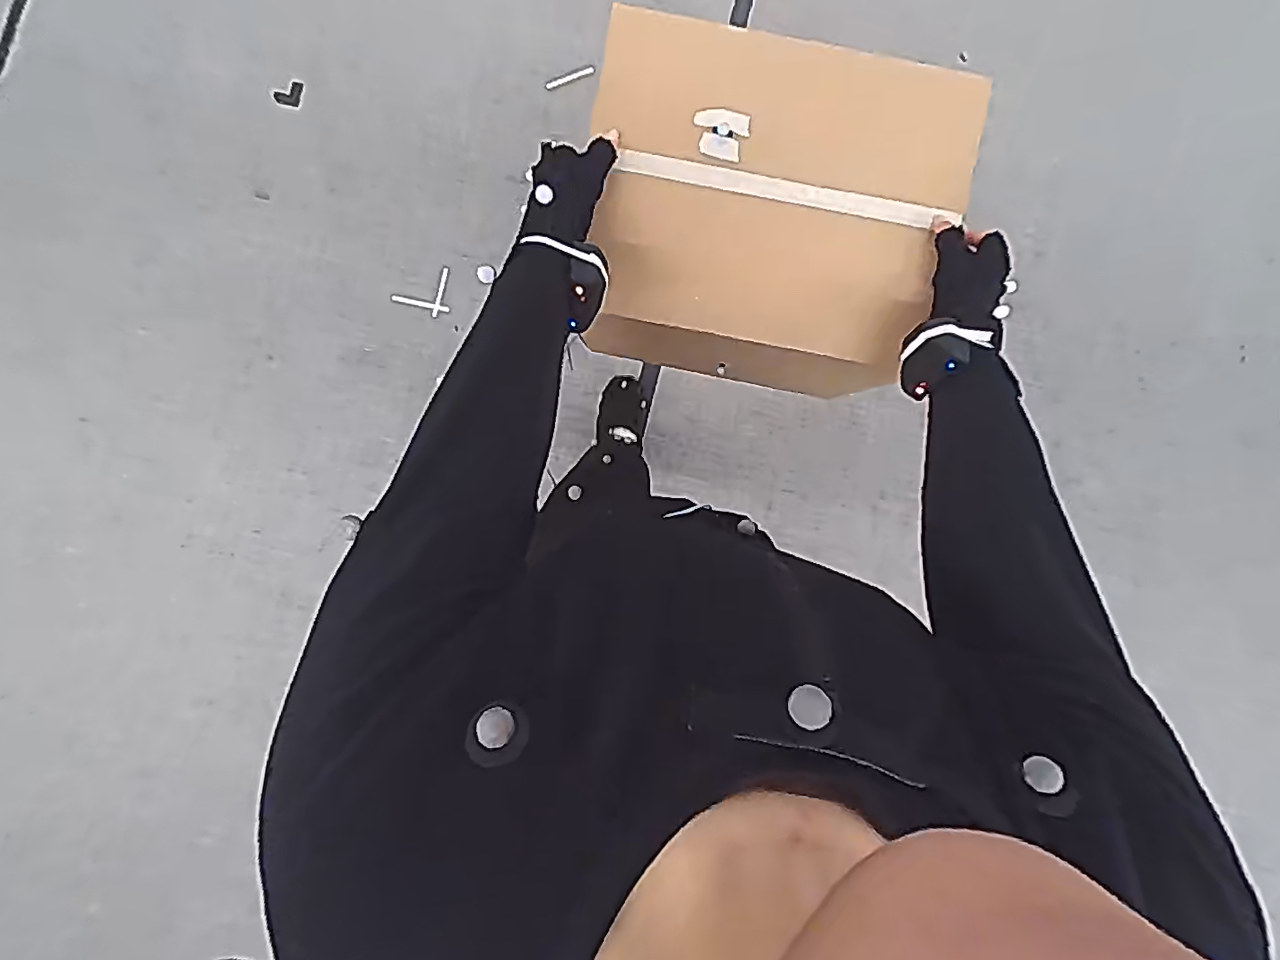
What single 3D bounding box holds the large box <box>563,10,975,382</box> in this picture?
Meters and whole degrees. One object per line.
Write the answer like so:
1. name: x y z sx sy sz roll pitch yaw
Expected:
1. large box: 0.139 -0.326 0.730 0.408 0.320 0.320 11 93 0
